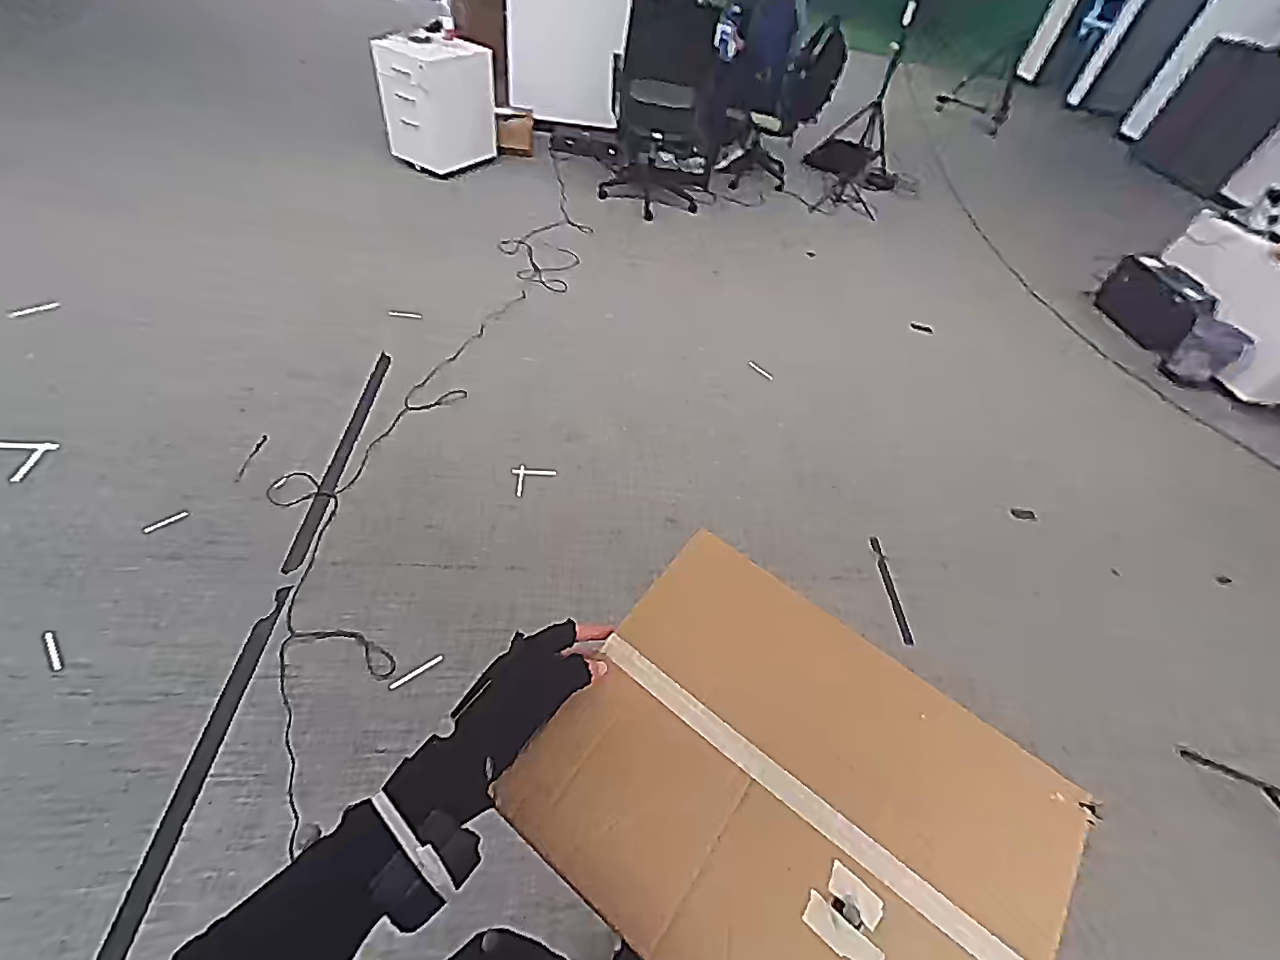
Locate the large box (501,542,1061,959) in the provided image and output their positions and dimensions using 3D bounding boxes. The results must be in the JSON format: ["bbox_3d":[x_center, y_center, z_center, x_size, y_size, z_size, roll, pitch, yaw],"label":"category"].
[{"bbox_3d":[0.116,0.346,0.588,0.408,0.320,0.320,34,62,16],"label":"large box"}]
